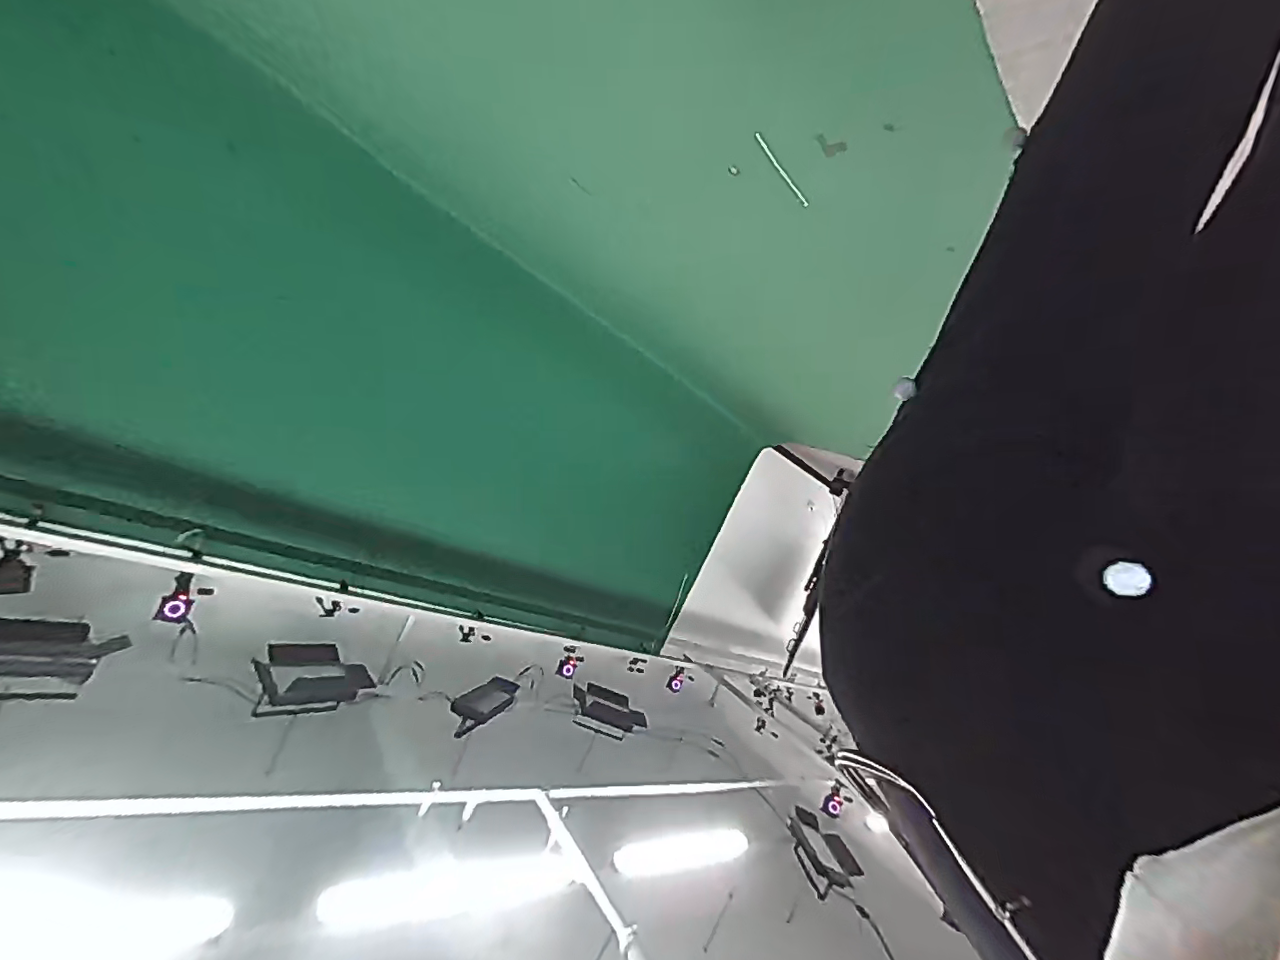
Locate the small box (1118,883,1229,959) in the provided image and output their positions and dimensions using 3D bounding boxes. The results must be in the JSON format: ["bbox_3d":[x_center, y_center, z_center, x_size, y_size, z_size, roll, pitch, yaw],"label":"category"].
[{"bbox_3d":[1.498,1.284,1.521,0.168,0.176,0.179,26,180,-39],"label":"small box"}]
